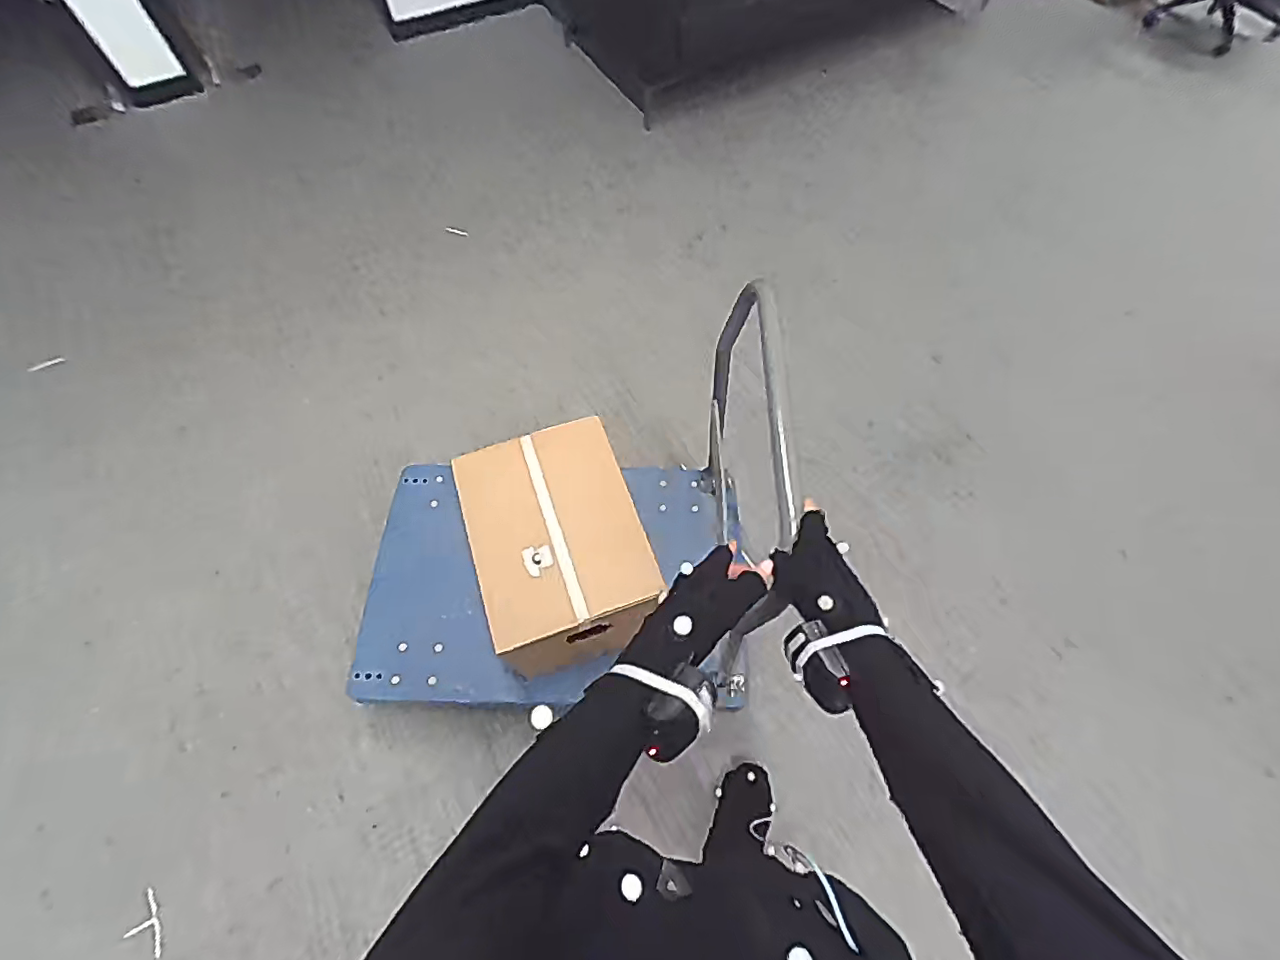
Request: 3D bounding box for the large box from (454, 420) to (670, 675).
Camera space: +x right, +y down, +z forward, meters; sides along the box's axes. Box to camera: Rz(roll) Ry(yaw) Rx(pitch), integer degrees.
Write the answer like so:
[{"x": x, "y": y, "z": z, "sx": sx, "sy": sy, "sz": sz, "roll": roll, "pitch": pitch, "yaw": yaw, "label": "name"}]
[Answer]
[{"x": -0.160, "y": 0.151, "z": 1.162, "sx": 0.320, "sy": 0.320, "sz": 0.408, "roll": -20, "pitch": 65, "yaw": -8, "label": "large box"}]
